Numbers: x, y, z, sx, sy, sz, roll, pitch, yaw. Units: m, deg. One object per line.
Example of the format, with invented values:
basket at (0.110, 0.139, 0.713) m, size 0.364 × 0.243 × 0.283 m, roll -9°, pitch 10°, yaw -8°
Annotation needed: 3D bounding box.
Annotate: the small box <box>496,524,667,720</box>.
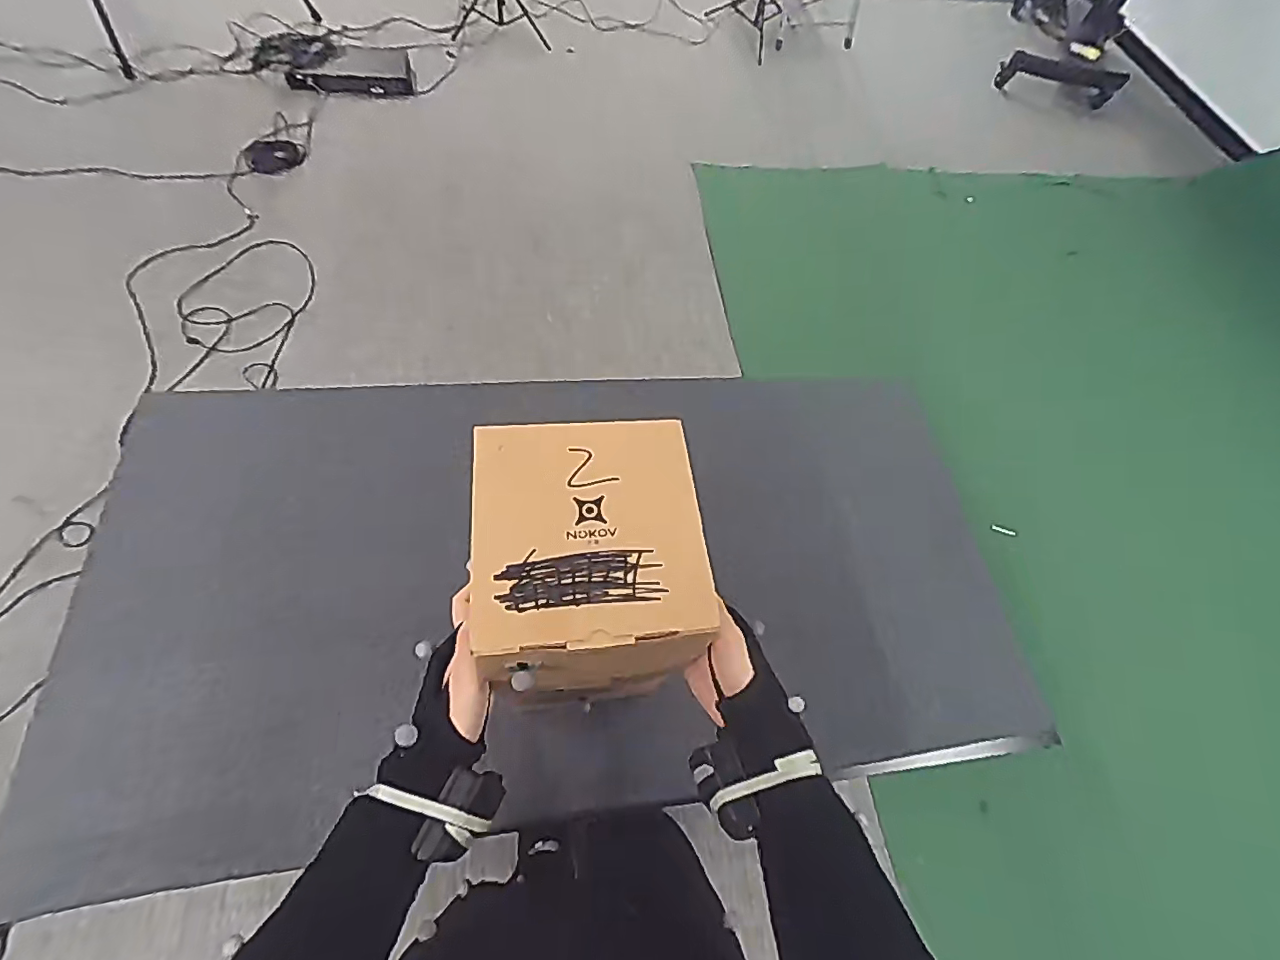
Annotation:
small box at (-0.074, 0.169, 0.627) m, size 0.168 × 0.176 × 0.179 m, roll -5°, pitch 63°, yaw -10°
